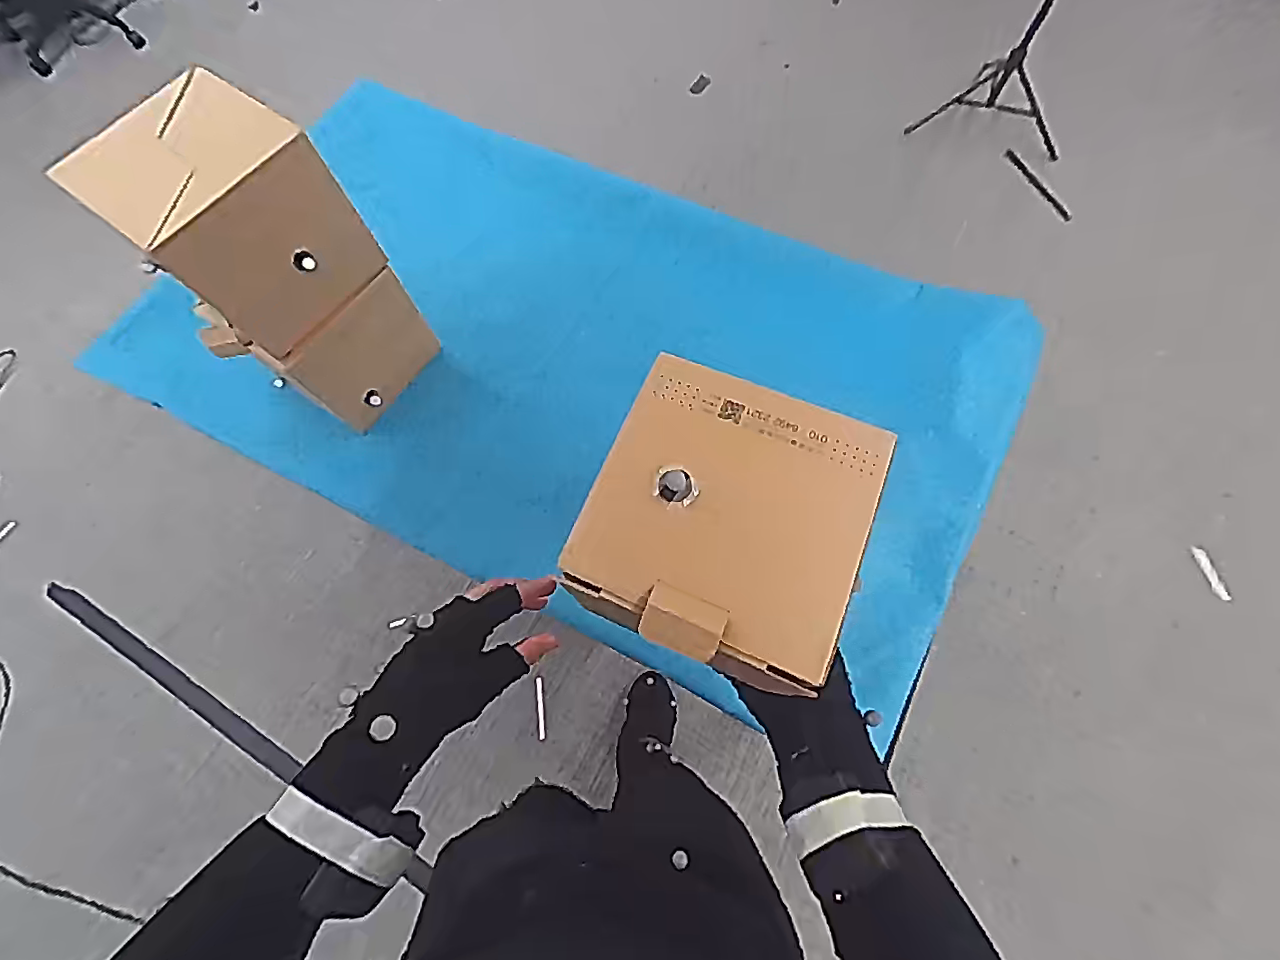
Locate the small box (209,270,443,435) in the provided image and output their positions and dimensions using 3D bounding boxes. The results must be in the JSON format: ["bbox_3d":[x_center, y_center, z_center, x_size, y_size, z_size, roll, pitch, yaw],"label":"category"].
[{"bbox_3d":[-0.409,-0.196,0.722,0.168,0.176,0.179,31,74,13],"label":"small box"}]

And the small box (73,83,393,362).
[{"bbox_3d":[-0.416,-0.268,0.574,0.168,0.176,0.179,35,76,14],"label":"small box"}]

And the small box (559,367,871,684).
[{"bbox_3d":[0.057,0.041,0.419,0.168,0.179,0.176,23,72,9],"label":"small box"}]
